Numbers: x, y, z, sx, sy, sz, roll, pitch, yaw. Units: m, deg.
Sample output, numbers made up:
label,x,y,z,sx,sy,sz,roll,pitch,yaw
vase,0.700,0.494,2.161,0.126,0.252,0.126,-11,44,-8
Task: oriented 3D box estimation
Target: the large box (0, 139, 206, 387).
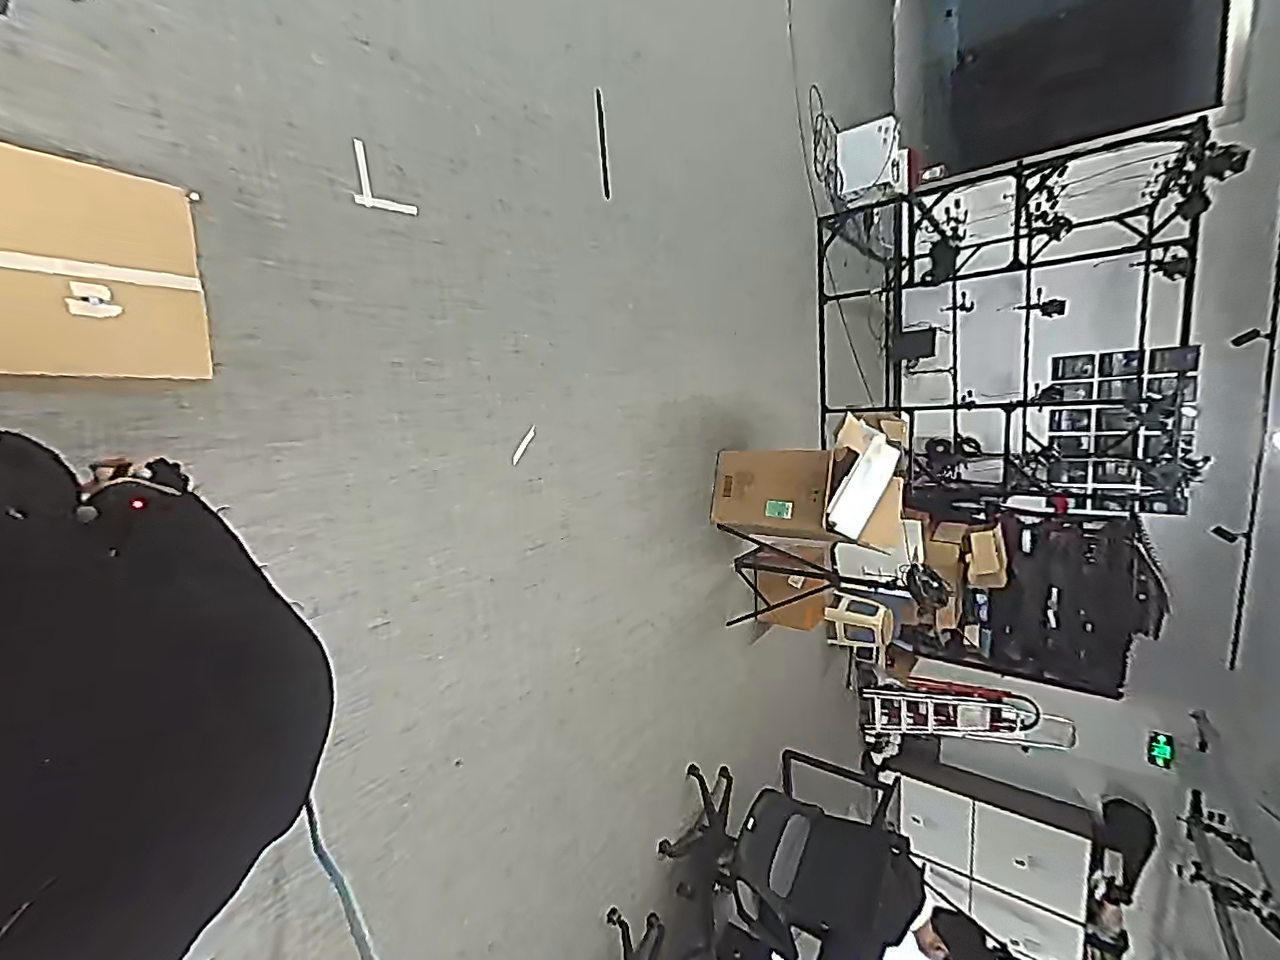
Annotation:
label,x,y,z,sx,sy,sz,roll,pitch,yaw
large box,-0.979,-0.310,0.826,0.408,0.320,0.320,-11,101,-53
